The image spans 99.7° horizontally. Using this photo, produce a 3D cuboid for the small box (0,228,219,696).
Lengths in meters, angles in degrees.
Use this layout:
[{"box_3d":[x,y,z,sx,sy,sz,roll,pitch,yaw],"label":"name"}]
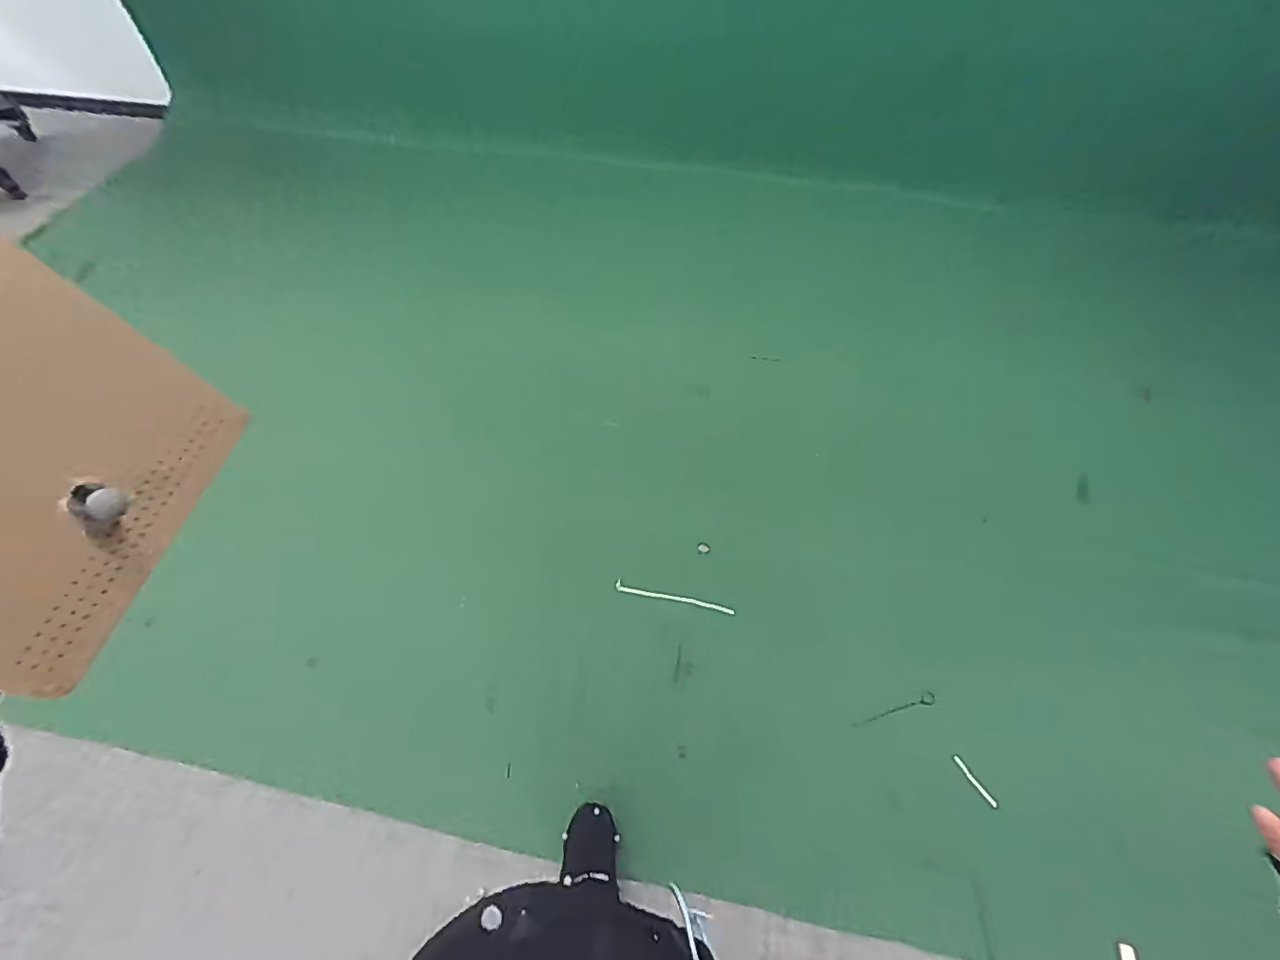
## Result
[{"box_3d":[-0.358,-0.014,0.257,0.168,0.176,0.179,-1,58,18],"label":"small box"}]
